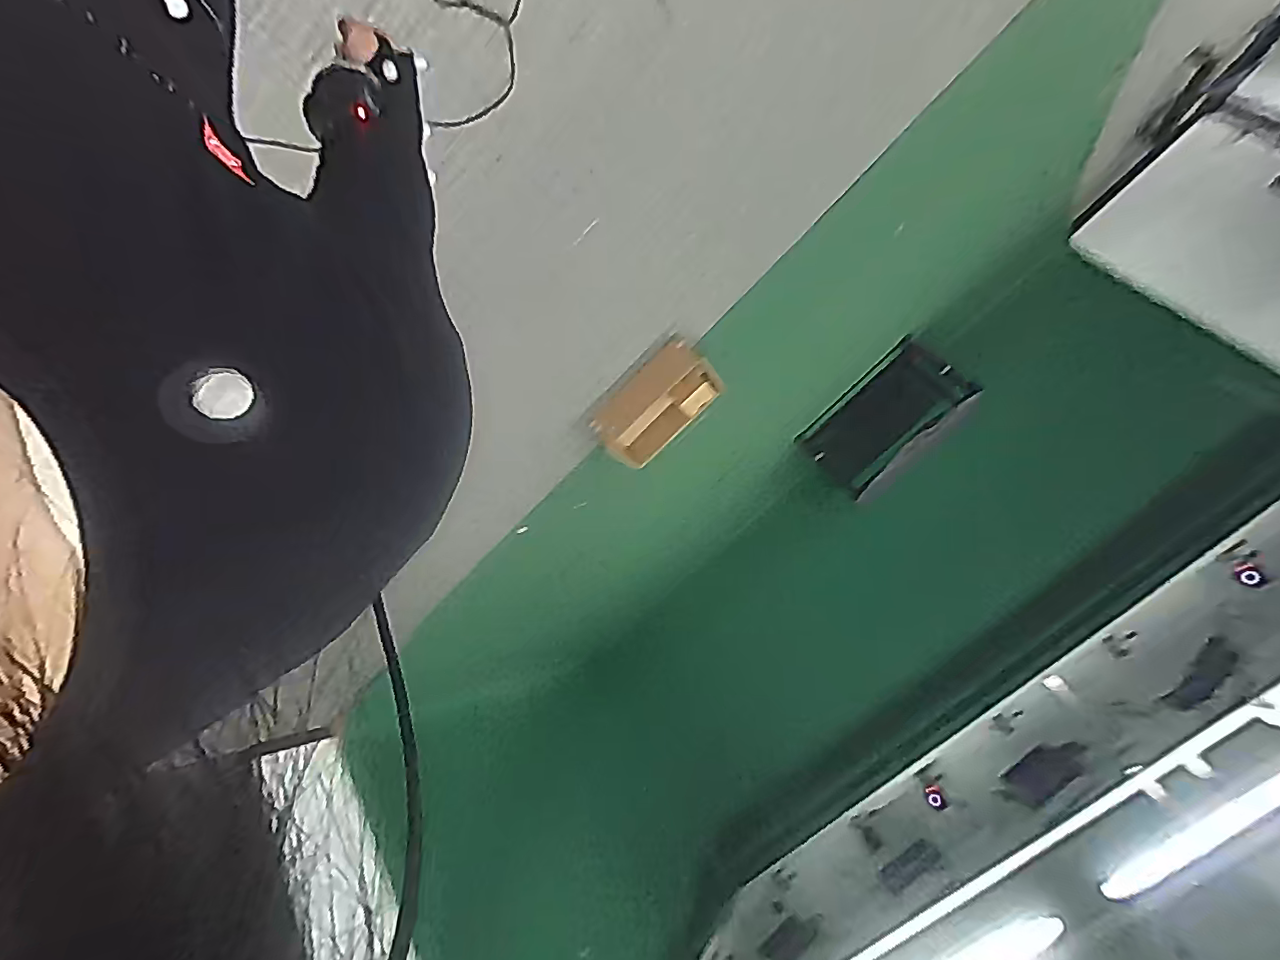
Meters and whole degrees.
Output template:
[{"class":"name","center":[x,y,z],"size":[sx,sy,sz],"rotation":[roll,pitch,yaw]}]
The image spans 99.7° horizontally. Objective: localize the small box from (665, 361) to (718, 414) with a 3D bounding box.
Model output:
[{"class":"small box","center":[0.251,-0.464,2.675],"size":[0.168,0.176,0.179],"rotation":[-43,154,11]}]
